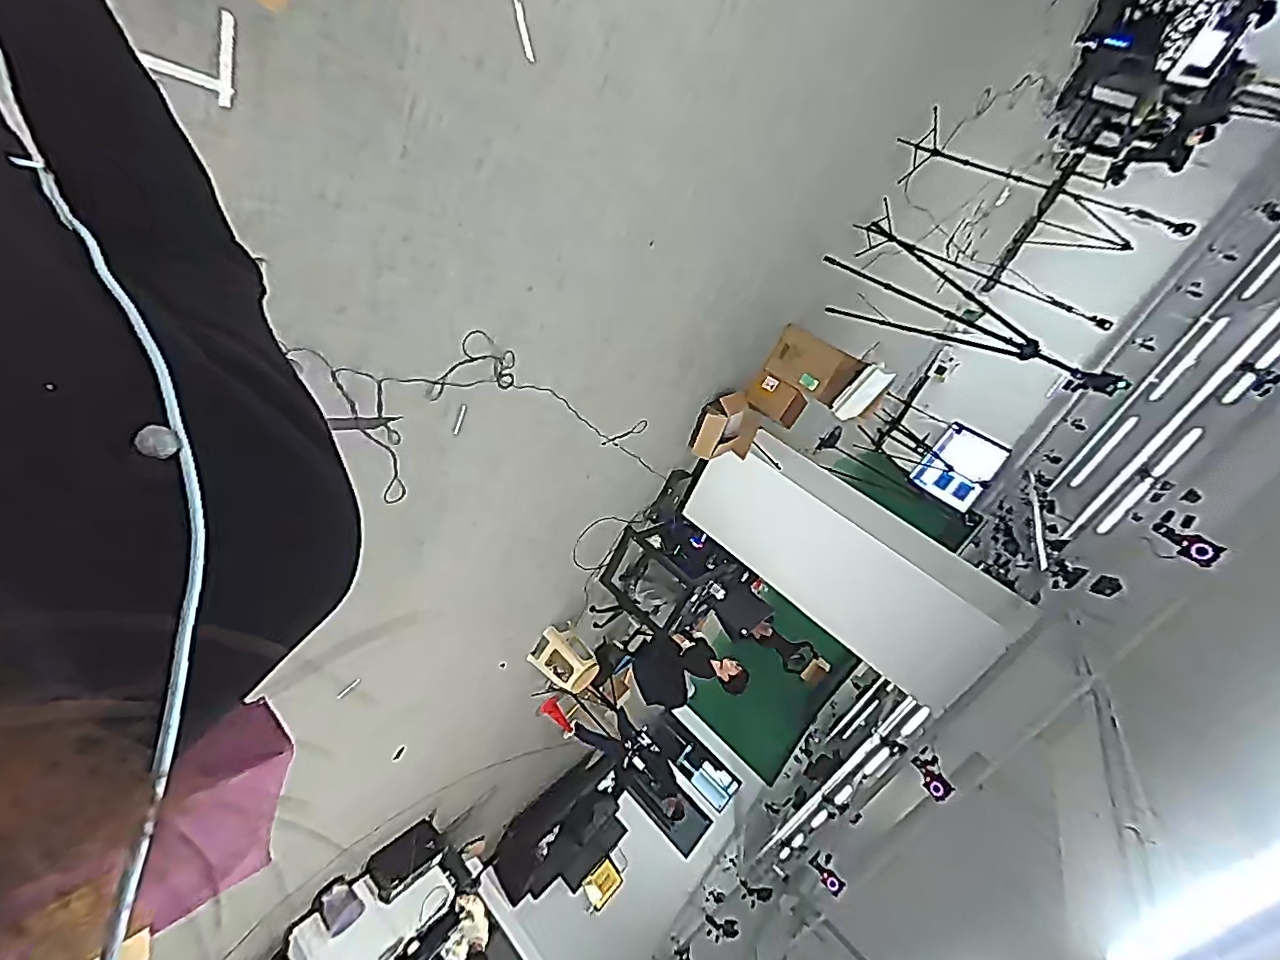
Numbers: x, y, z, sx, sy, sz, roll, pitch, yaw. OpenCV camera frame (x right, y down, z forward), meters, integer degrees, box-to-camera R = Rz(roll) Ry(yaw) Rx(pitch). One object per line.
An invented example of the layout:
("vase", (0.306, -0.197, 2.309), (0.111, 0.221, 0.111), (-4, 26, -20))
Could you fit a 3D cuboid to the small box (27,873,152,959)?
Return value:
("small box", (-1.234, 1.038, 1.215), (0.168, 0.176, 0.179), (-14, 136, -53))
